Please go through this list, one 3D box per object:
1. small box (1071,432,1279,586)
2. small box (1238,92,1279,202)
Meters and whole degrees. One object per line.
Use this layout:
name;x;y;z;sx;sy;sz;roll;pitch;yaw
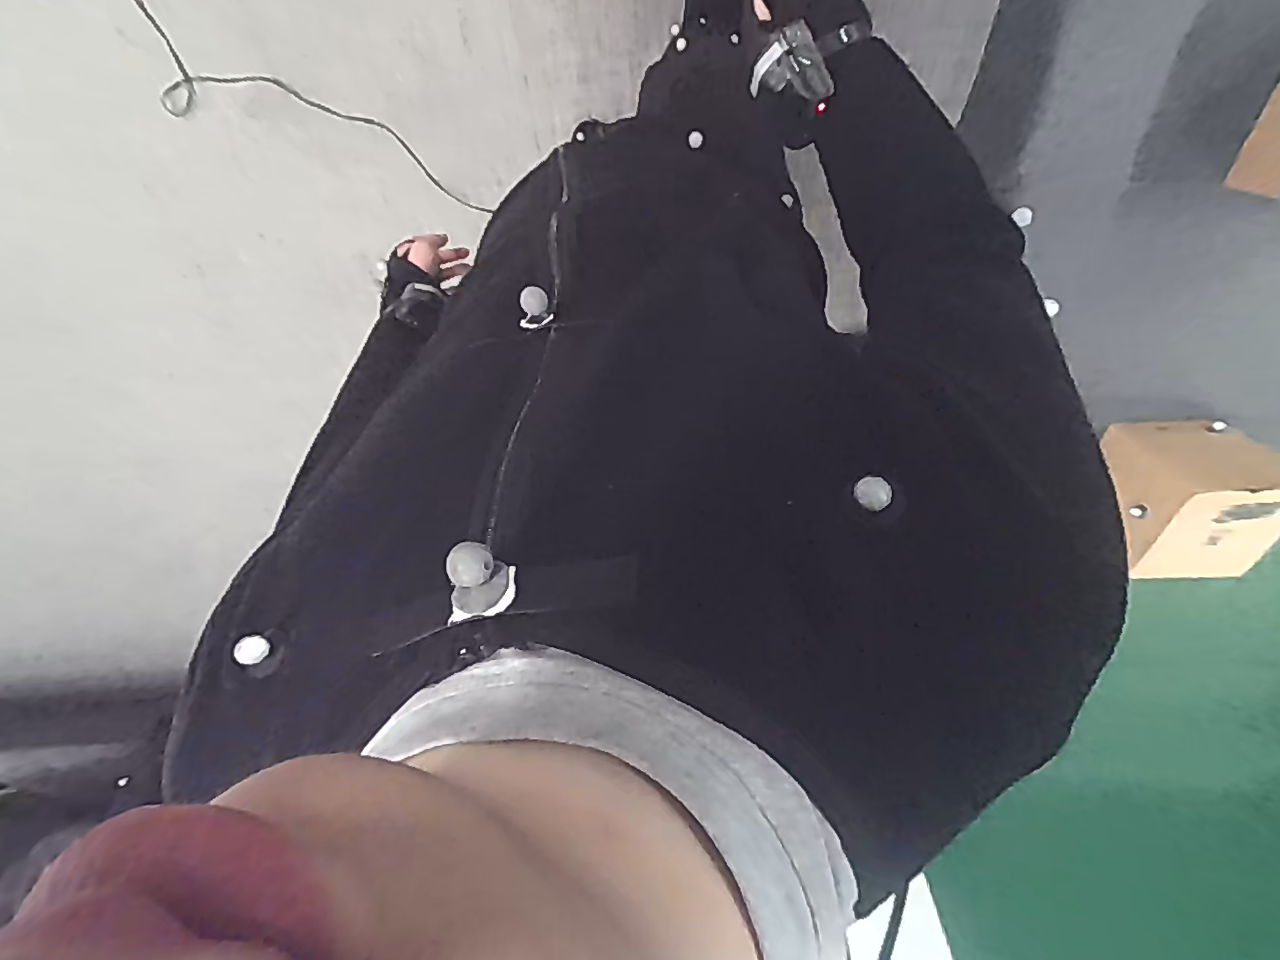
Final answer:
small box;0.808;0.039;0.815;0.168;0.176;0.179;-1;129;3
small box;0.750;-0.354;0.508;0.168;0.176;0.179;-3;127;2
